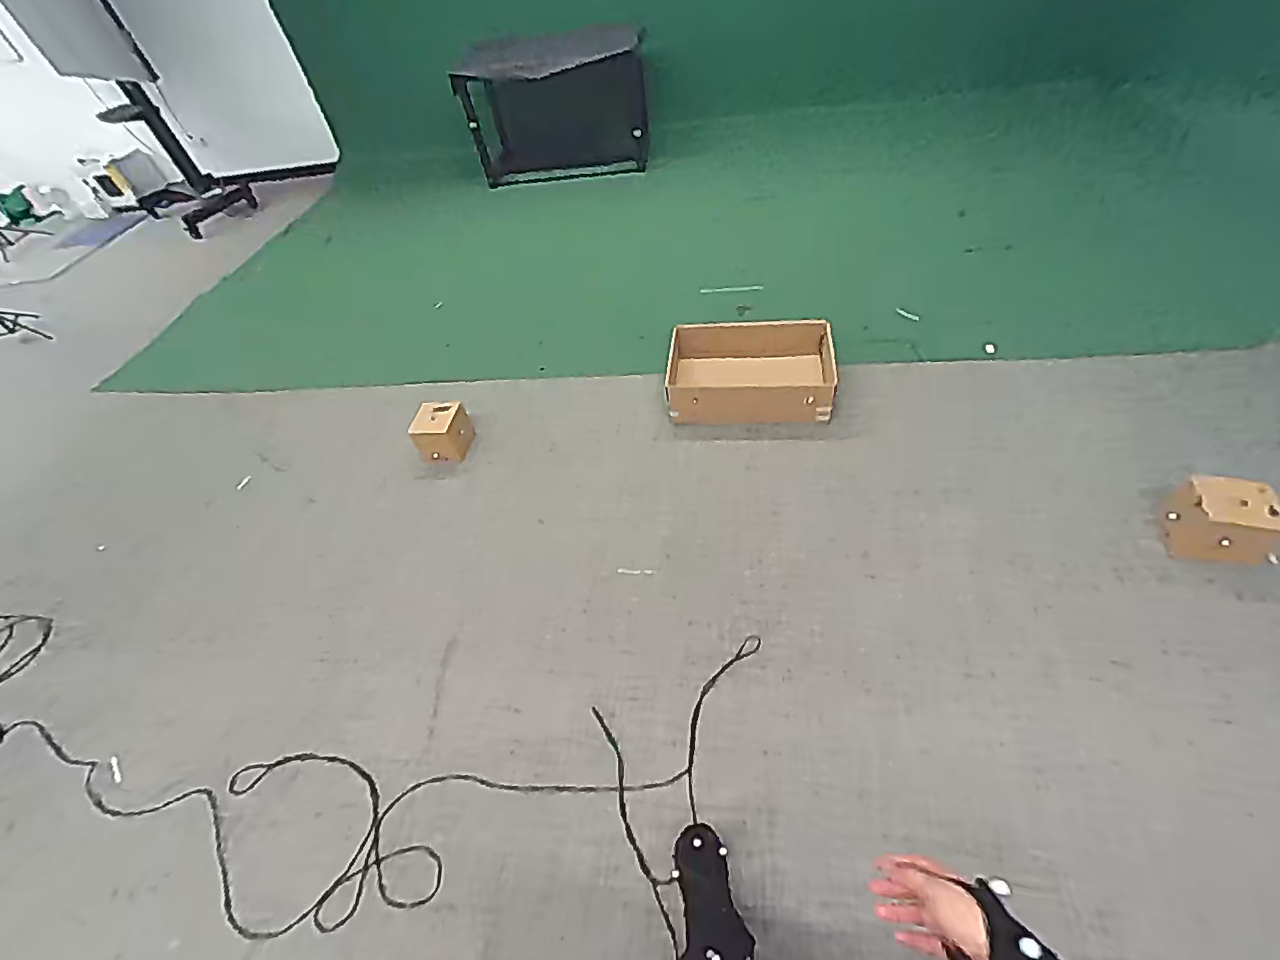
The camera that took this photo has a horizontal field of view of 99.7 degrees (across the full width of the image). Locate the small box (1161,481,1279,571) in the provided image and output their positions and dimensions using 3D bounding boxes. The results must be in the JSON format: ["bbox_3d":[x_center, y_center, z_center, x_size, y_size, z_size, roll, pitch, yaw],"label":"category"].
[{"bbox_3d":[1.576,0.128,1.471,0.179,0.176,0.168,9,51,18],"label":"small box"}]

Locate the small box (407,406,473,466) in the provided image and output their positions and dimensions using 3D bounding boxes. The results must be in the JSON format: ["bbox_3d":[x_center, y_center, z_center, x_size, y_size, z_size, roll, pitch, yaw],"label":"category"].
[{"bbox_3d":[-0.782,-0.175,2.142,0.168,0.176,0.179,1,50,10],"label":"small box"}]
